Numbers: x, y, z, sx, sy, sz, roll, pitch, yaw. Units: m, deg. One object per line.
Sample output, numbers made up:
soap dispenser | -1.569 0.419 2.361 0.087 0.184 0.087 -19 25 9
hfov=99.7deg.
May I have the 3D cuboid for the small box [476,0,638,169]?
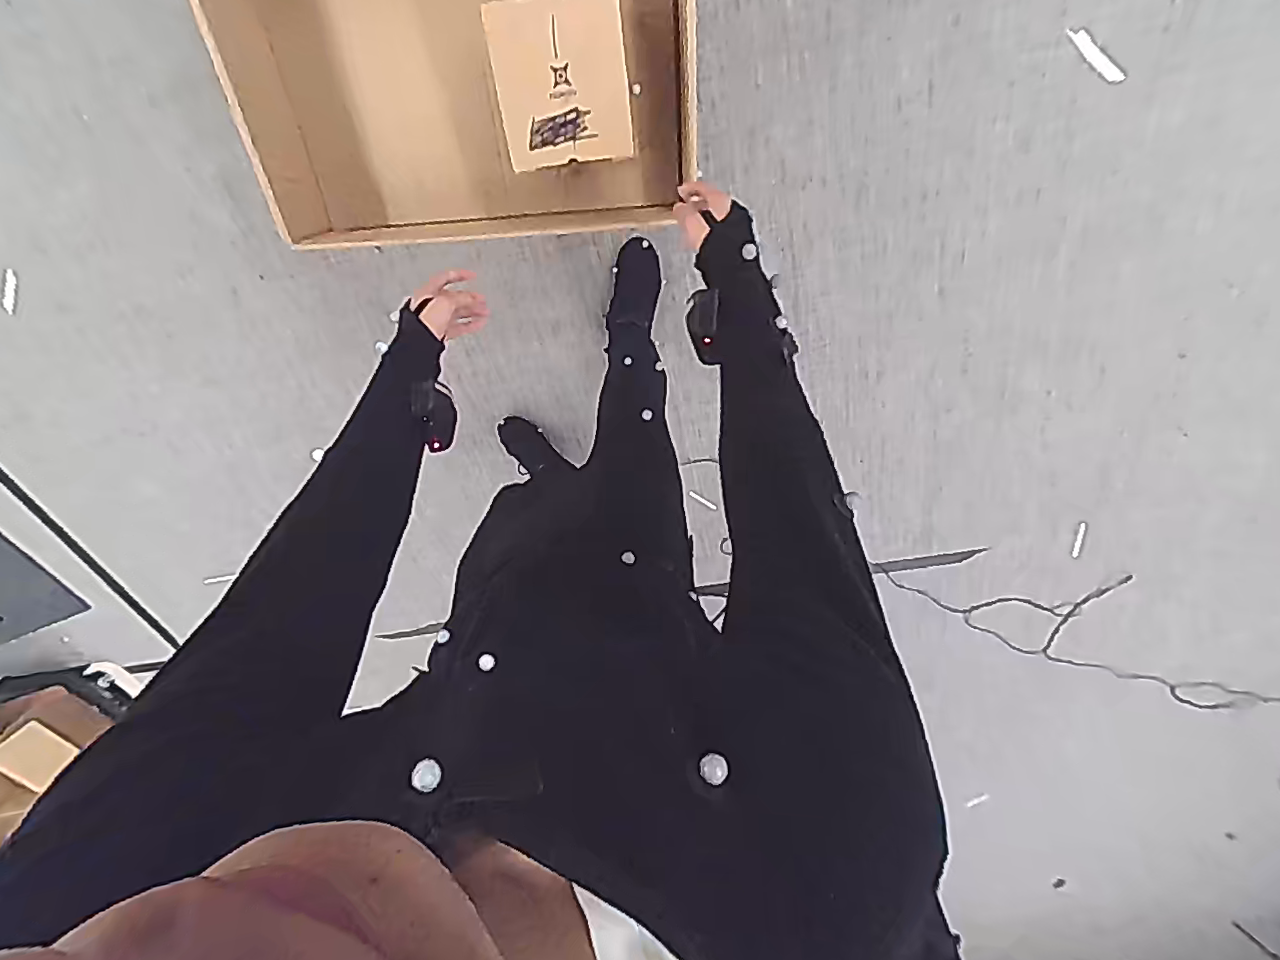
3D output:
small box | -0.095 -0.529 0.722 0.168 0.176 0.179 -5 121 5
